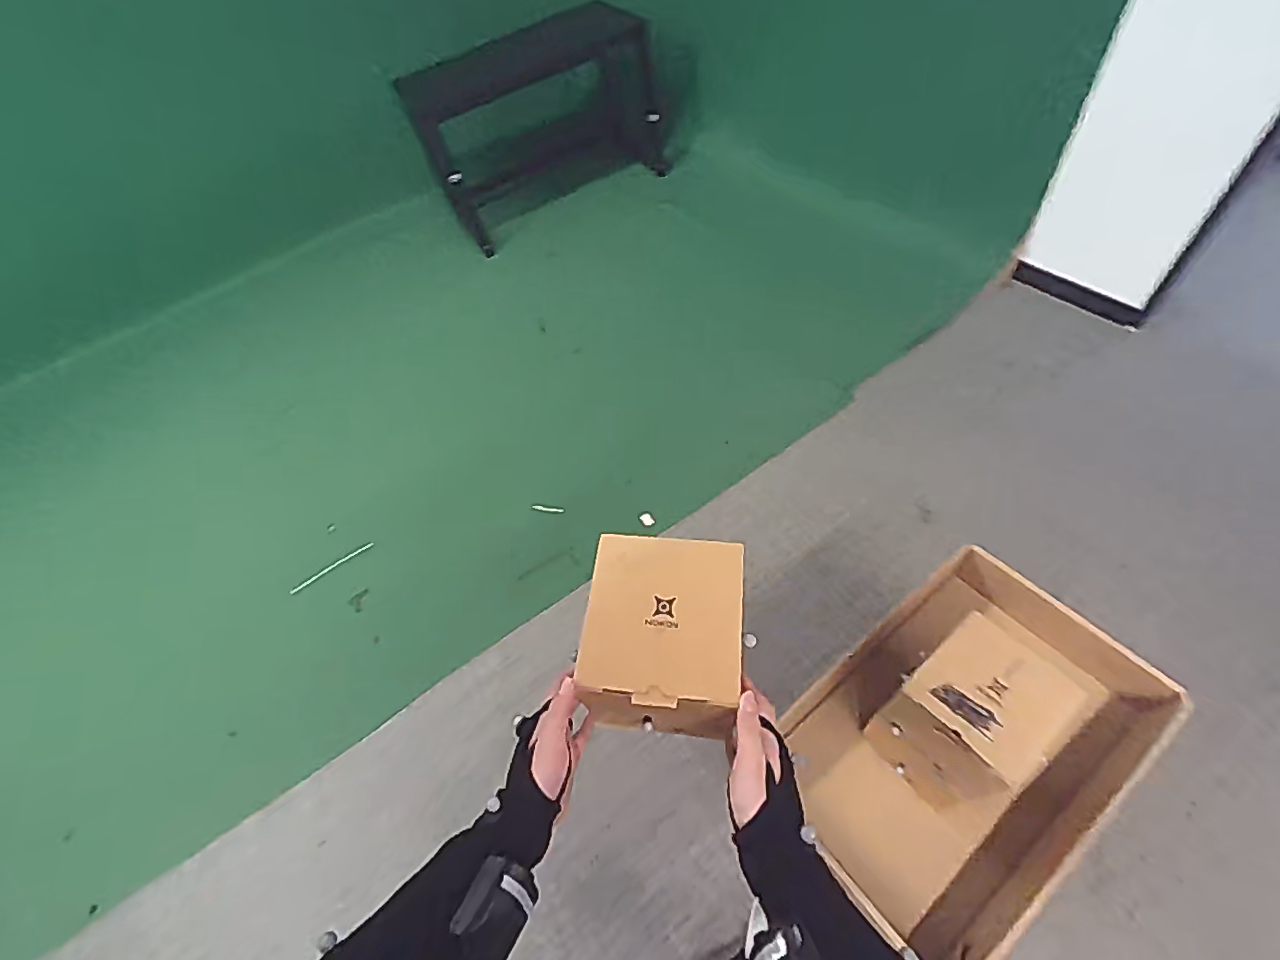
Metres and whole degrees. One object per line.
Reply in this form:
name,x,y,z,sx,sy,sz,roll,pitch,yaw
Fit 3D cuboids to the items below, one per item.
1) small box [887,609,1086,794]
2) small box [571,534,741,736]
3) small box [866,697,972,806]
small box,0.497,0.334,0.807,0.179,0.176,0.168,-36,56,-17
small box,0.027,0.182,0.628,0.168,0.176,0.179,2,57,7
small box,0.521,0.430,0.938,0.179,0.176,0.168,-35,56,-15
